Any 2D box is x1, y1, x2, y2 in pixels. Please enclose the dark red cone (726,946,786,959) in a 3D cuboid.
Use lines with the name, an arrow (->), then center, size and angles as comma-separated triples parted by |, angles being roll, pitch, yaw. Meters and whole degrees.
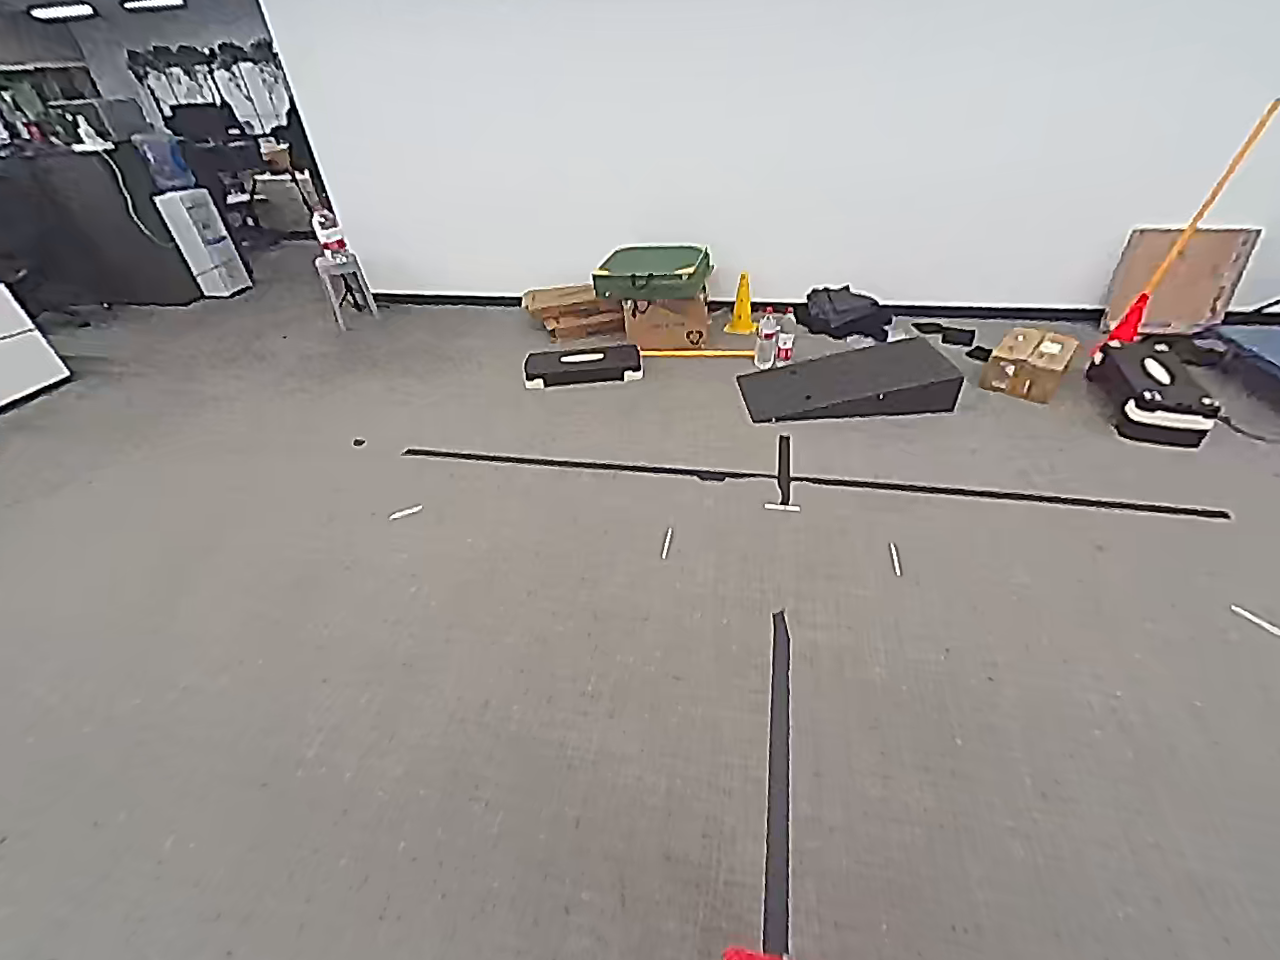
dark red cone -> 0.232, 0.845, 0.858 | 0.201, 0.394, 0.202 | 4, 38, 11
